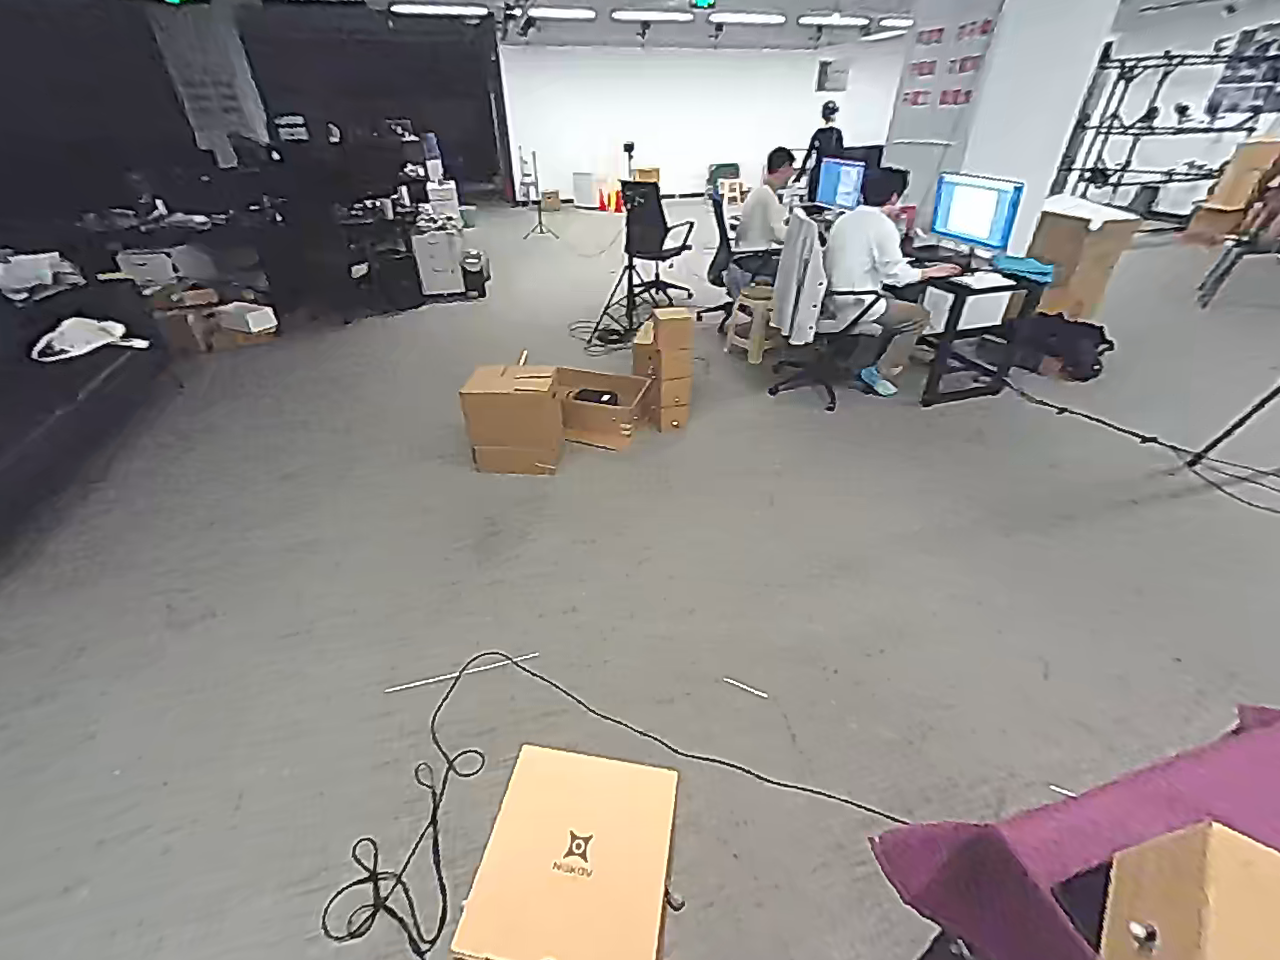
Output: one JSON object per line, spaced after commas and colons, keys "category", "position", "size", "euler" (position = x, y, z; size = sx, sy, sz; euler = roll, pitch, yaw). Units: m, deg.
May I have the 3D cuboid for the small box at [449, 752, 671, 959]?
{"category": "small box", "position": [-0.063, 0.410, 0.538], "size": [0.168, 0.176, 0.179], "euler": [5, 36, 8]}
